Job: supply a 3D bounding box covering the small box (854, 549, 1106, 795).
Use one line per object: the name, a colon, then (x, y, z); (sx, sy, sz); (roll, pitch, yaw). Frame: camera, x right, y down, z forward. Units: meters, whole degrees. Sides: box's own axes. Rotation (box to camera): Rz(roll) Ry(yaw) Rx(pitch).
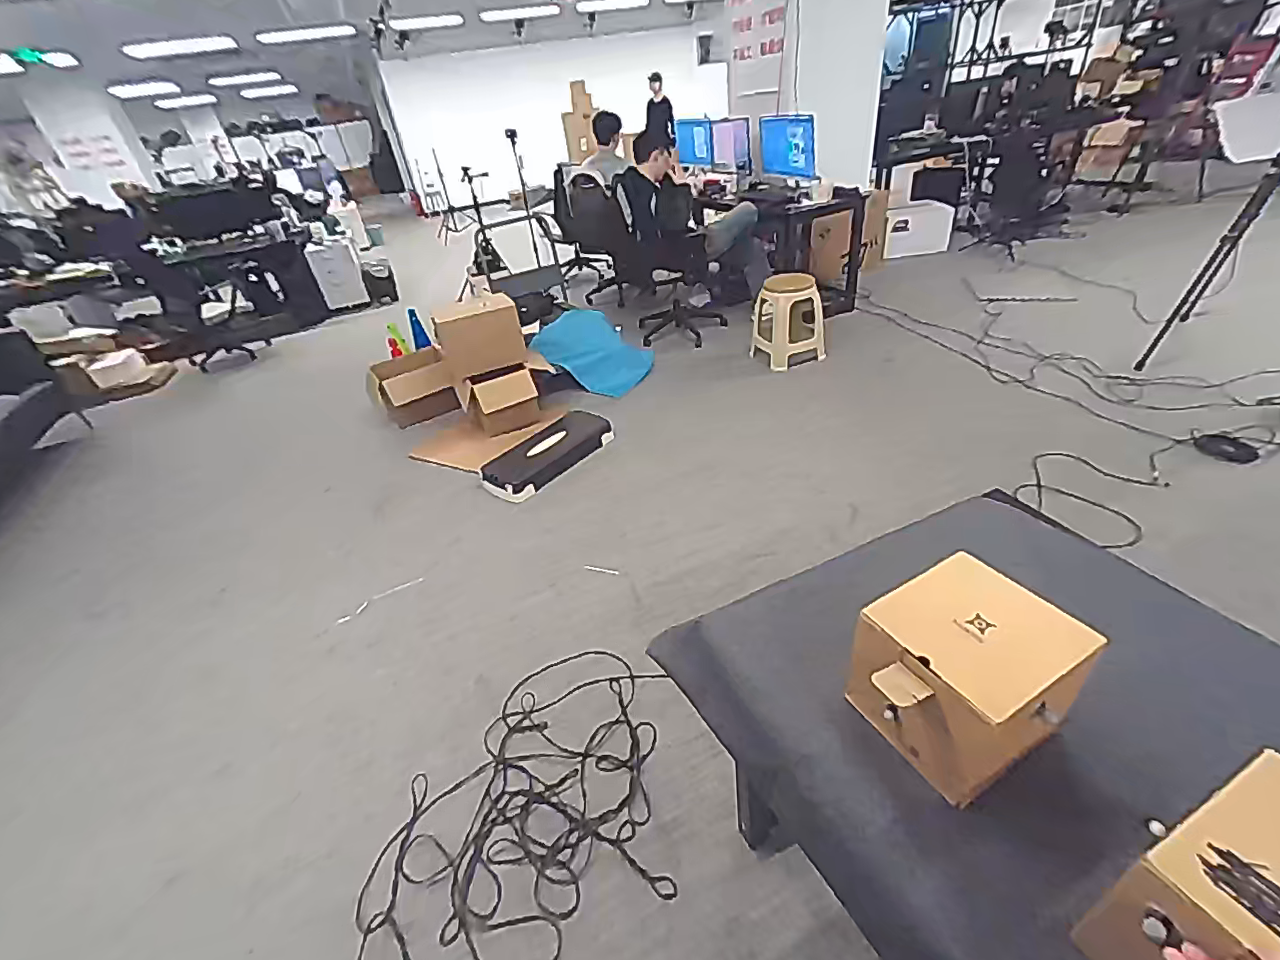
small box: (0.374, 0.218, 0.630); (0.179, 0.176, 0.168); (-23, 38, -19)
